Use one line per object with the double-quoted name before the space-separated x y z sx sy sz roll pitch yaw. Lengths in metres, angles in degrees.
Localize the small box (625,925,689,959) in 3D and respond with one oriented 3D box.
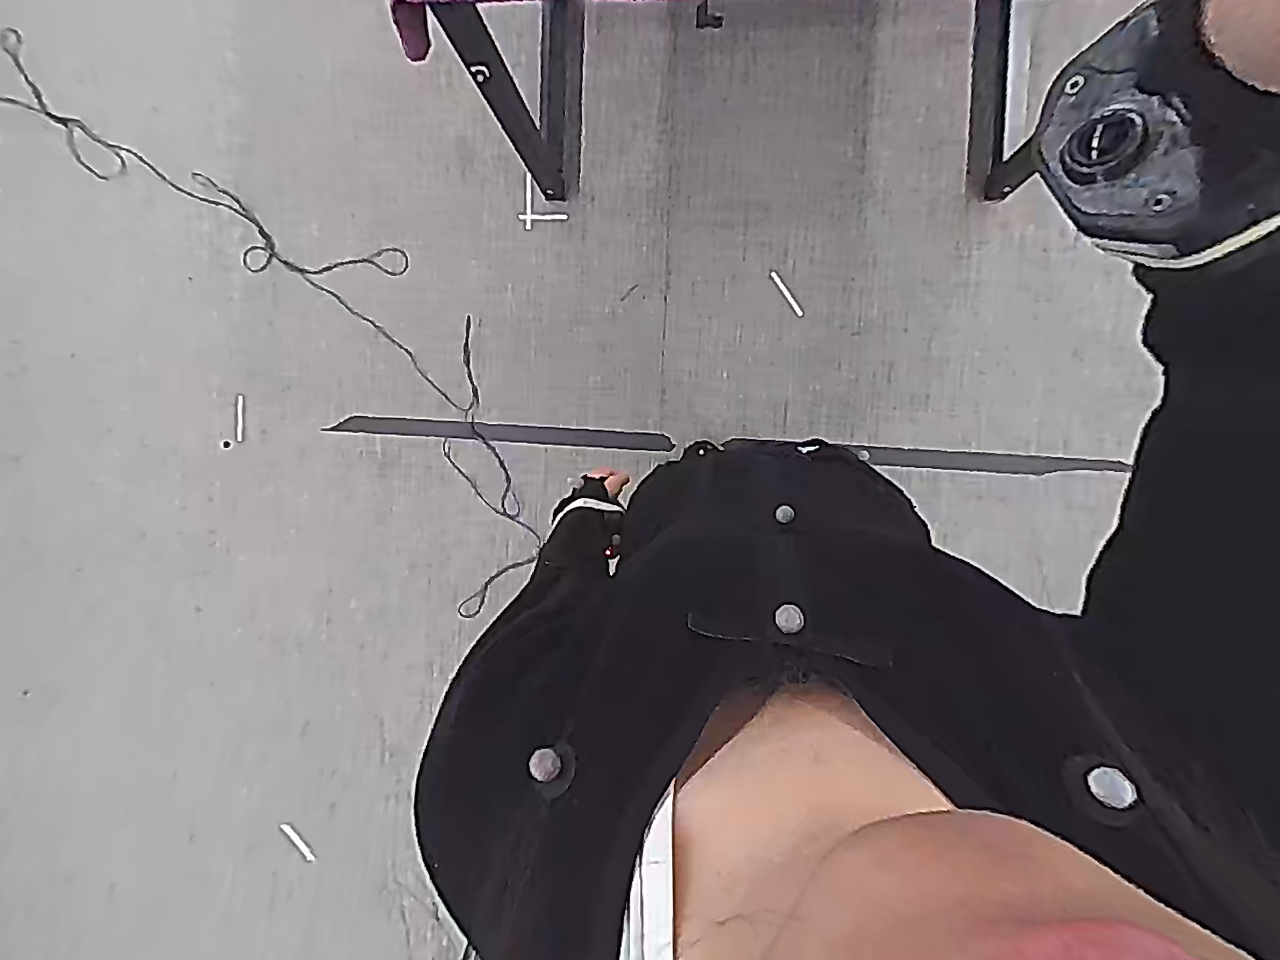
"small box" 0.050 1.358 1.458 0.168 0.176 0.179 -6 92 6
